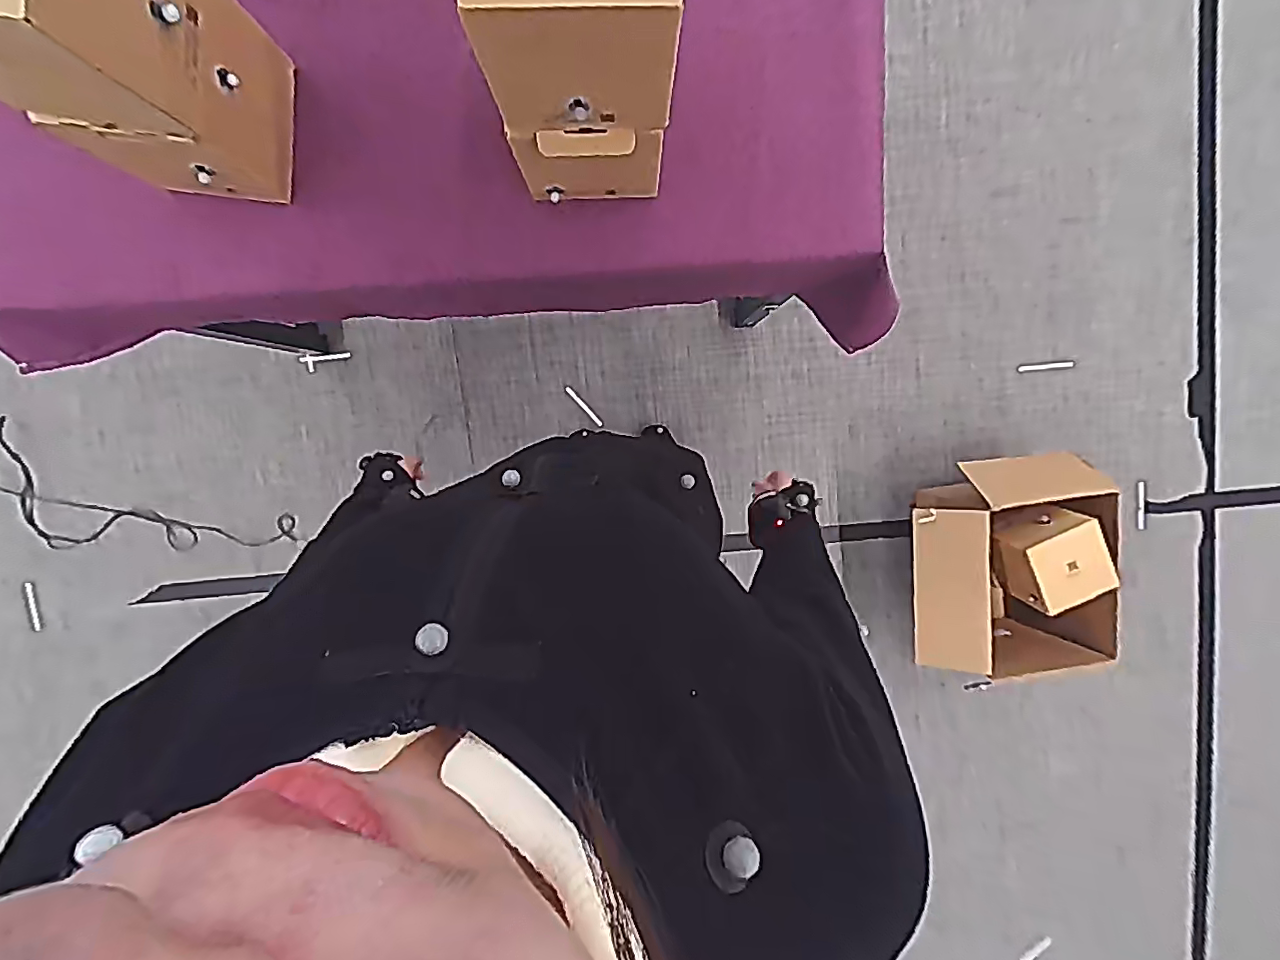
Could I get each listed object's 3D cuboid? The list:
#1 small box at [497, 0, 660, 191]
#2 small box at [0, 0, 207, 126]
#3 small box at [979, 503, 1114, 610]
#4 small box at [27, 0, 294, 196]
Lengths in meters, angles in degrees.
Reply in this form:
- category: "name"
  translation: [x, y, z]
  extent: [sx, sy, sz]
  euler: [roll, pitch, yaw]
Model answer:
- category: "small box"
  translation: [-0.061, -0.453, 0.623]
  extent: [0.168, 0.176, 0.179]
  euler: [-2, 96, -1]
- category: "small box"
  translation: [-0.516, -0.432, 0.452]
  extent: [0.179, 0.176, 0.168]
  euler: [7, 97, -3]
- category: "small box"
  translation: [0.943, 0.168, 1.271]
  extent: [0.168, 0.176, 0.179]
  euler: [-27, 101, 4]
- category: "small box"
  translation: [-0.526, -0.450, 0.615]
  extent: [0.168, 0.176, 0.179]
  euler: [6, 96, -3]
